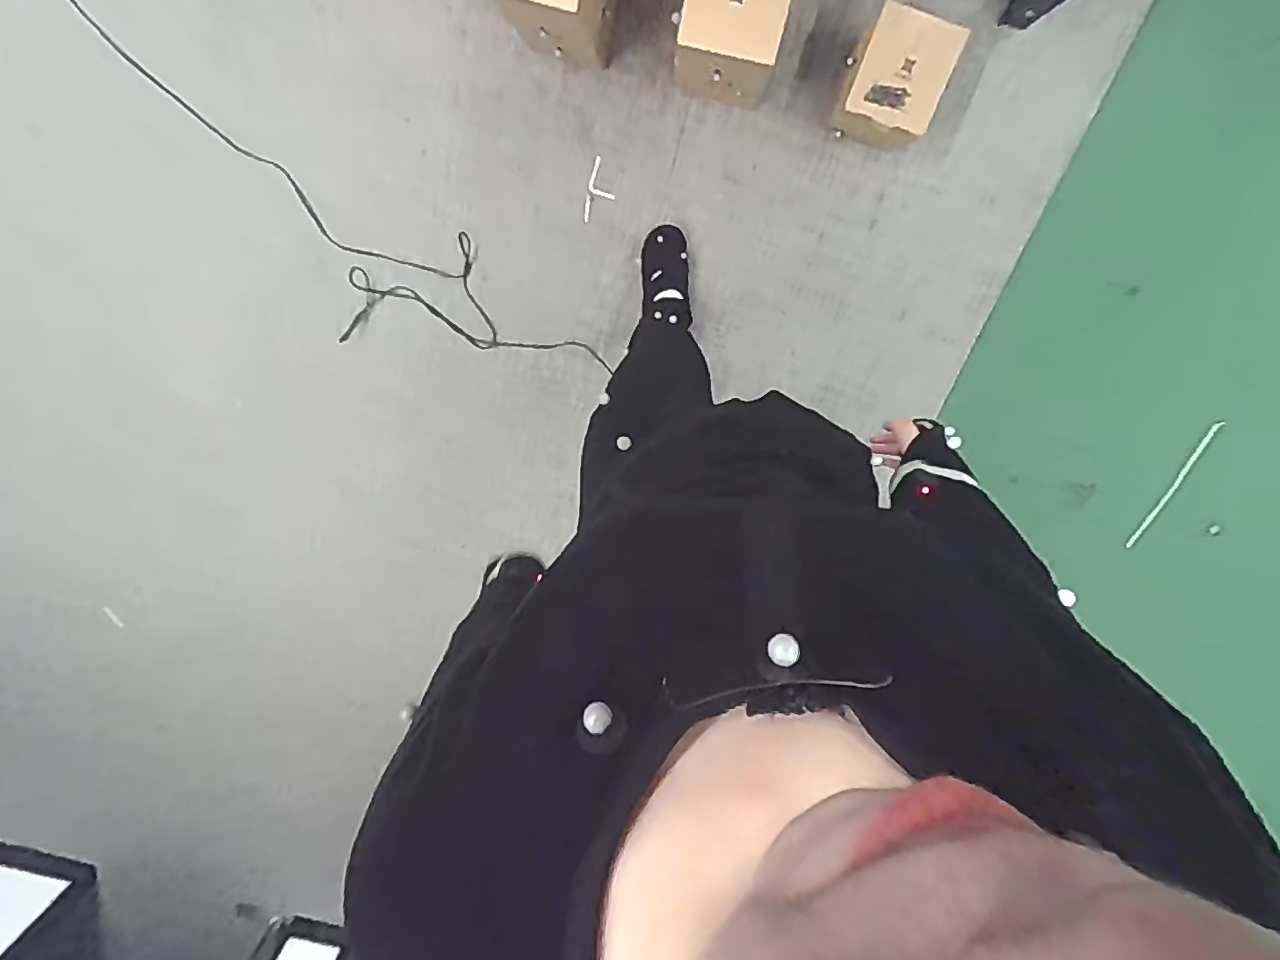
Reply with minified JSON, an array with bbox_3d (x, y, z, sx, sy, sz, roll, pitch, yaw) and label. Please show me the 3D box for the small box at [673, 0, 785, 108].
[{"bbox_3d":[0.172,-0.870,1.075,0.179,0.176,0.168,14,113,-1],"label":"small box"}]
